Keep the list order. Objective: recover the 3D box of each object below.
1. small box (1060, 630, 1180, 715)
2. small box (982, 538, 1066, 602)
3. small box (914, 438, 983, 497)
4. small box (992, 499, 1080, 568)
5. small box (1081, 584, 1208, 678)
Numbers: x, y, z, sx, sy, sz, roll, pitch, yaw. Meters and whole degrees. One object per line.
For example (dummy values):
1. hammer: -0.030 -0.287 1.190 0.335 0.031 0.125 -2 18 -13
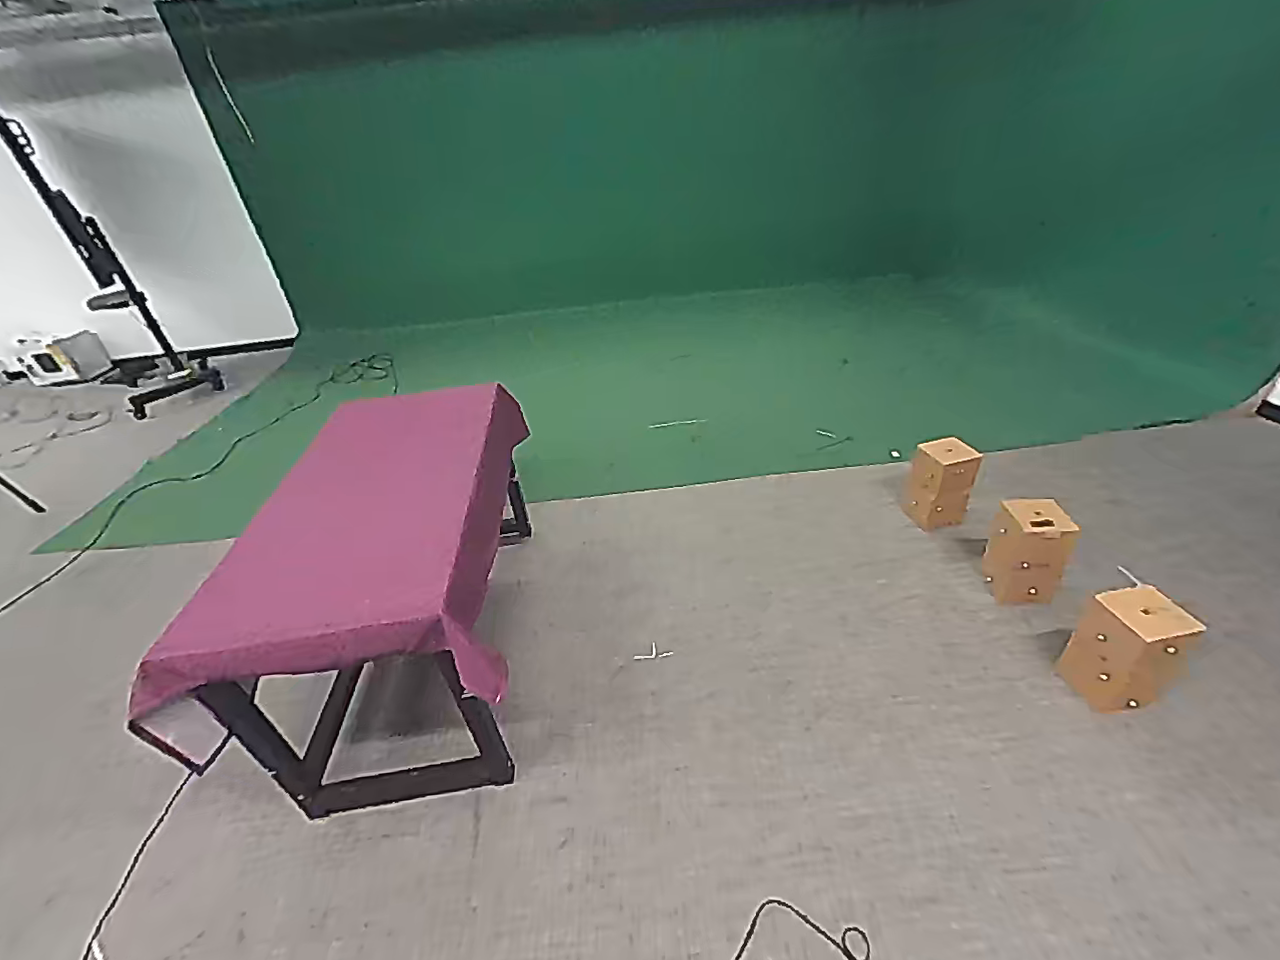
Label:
1. small box: 1.380 0.547 1.571 0.168 0.176 0.179 -10 35 -4
2. small box: 1.351 0.319 1.915 0.168 0.176 0.179 -2 34 6
3. small box: 1.238 -0.047 2.187 0.179 0.176 0.168 -12 35 -8
4. small box: 1.327 0.183 1.825 0.168 0.176 0.179 -2 33 7
5. small box: 1.359 0.414 1.476 0.179 0.176 0.168 -9 35 -4
